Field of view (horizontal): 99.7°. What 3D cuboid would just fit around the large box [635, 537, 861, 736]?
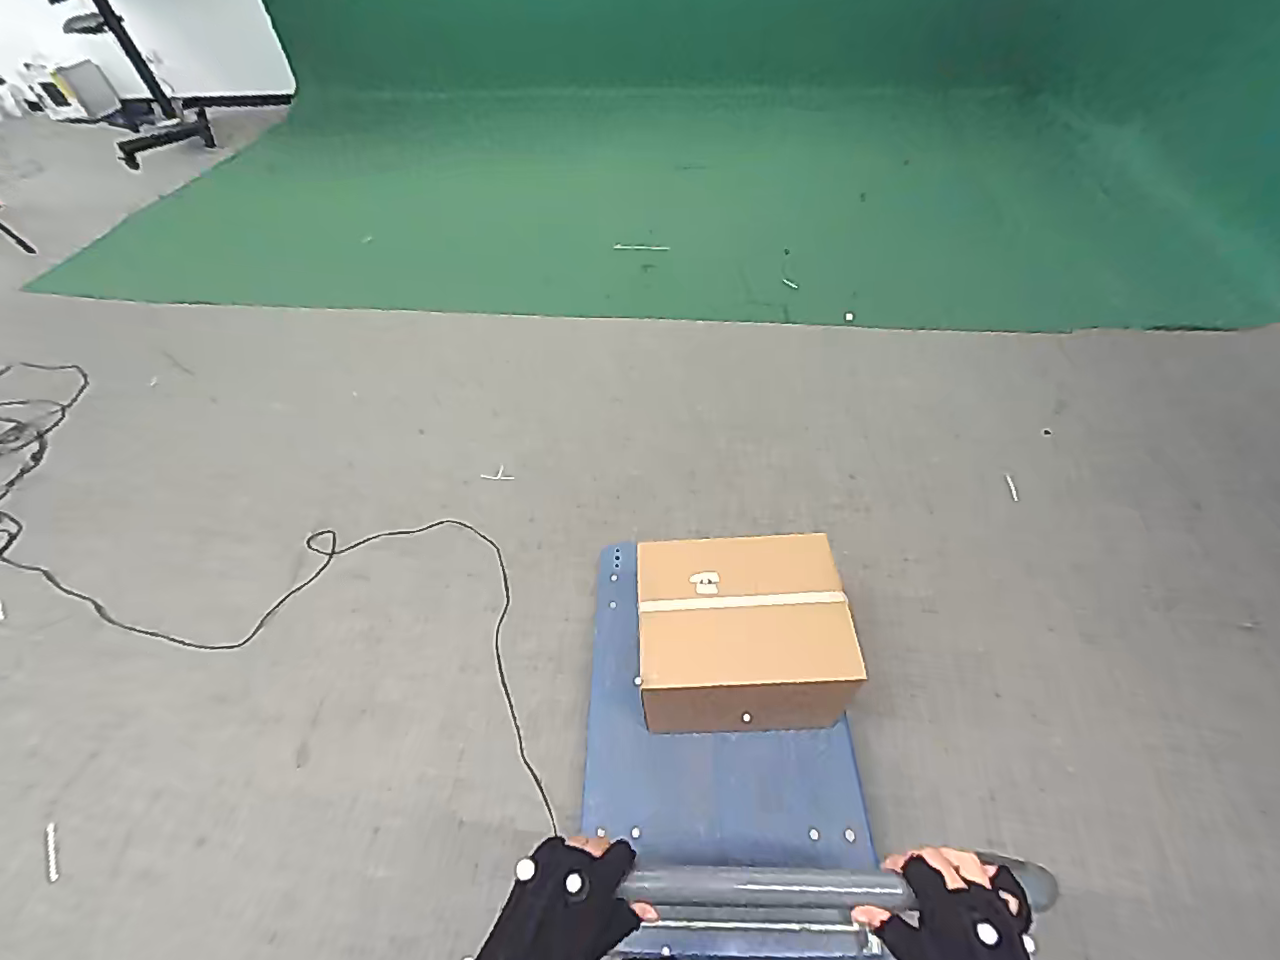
[{"bbox_3d":[0.205,0.346,1.173,0.408,0.320,0.320,-4,49,3],"label":"large box"}]
